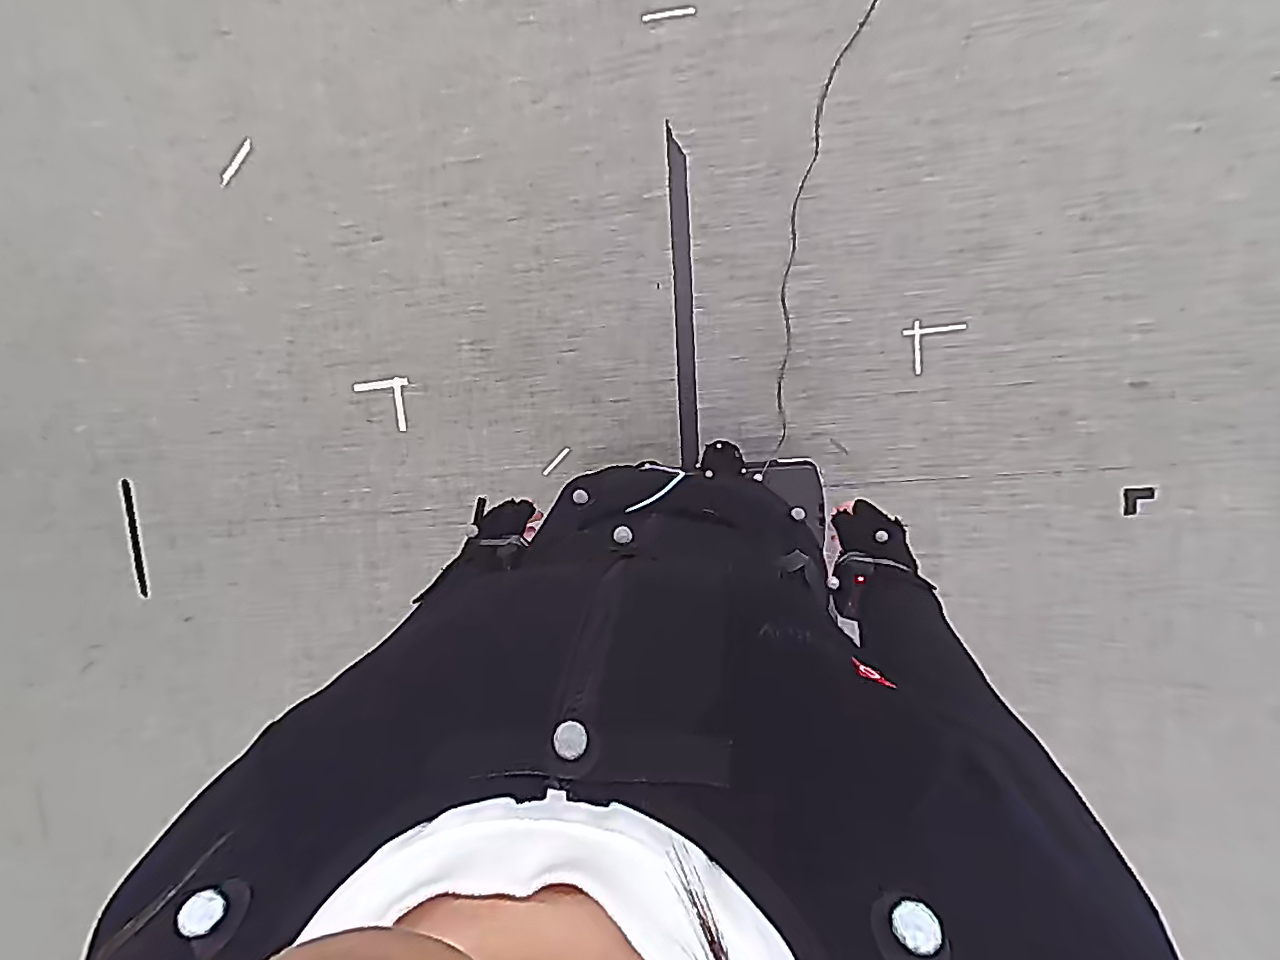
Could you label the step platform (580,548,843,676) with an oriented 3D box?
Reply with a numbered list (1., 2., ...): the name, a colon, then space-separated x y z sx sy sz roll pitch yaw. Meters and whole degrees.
1. step platform: 0.183 0.356 1.454 0.684 0.204 0.286 -4 94 9
